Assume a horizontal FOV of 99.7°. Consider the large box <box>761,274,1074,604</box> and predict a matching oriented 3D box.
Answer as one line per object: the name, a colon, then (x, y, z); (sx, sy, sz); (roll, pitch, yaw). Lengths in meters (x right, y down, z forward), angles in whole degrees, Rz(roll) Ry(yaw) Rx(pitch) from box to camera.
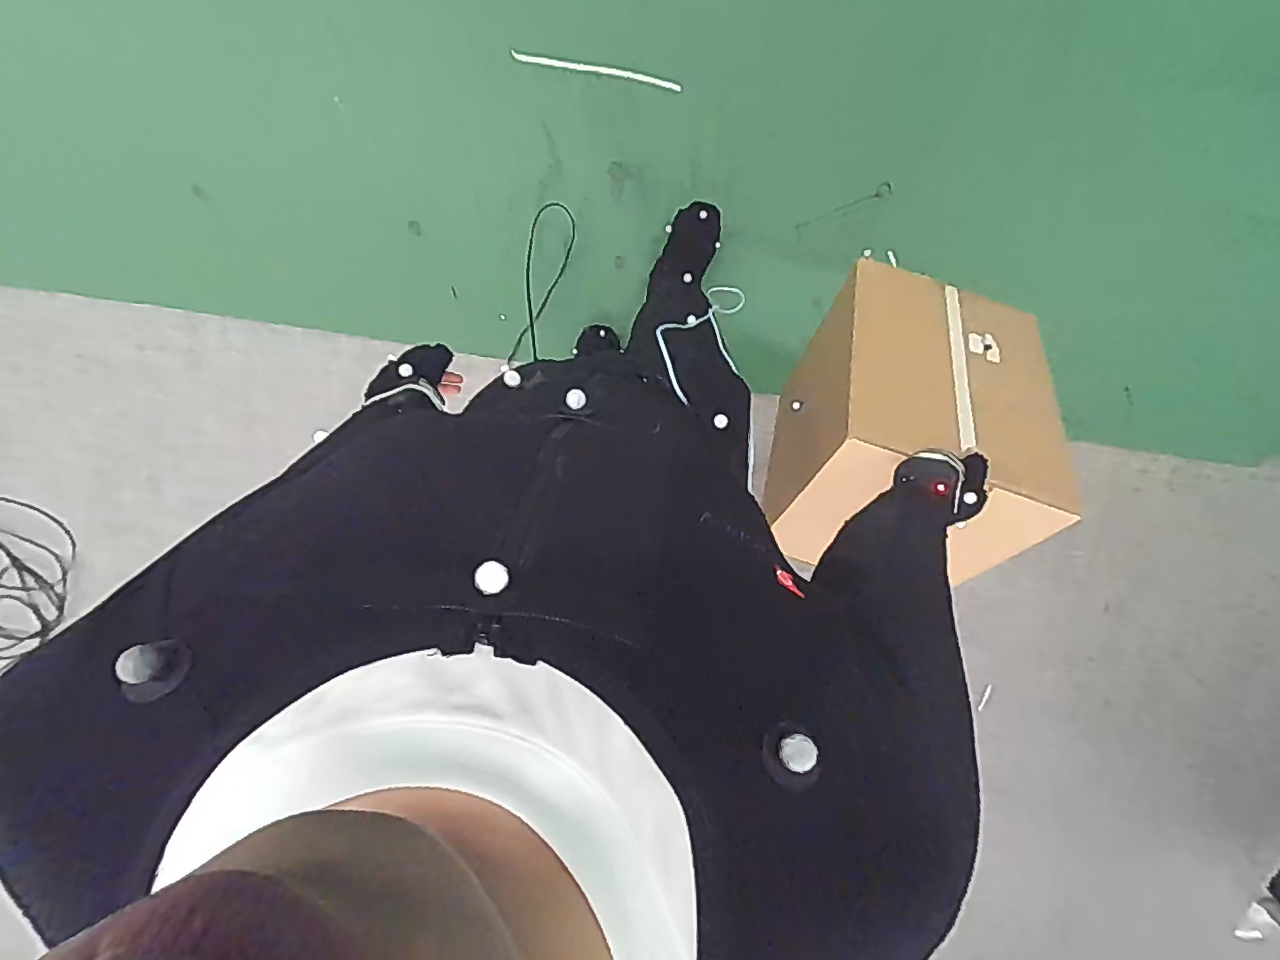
large box: (0.420, -0.062, 0.910); (0.320, 0.408, 0.320); (19, 144, -1)
